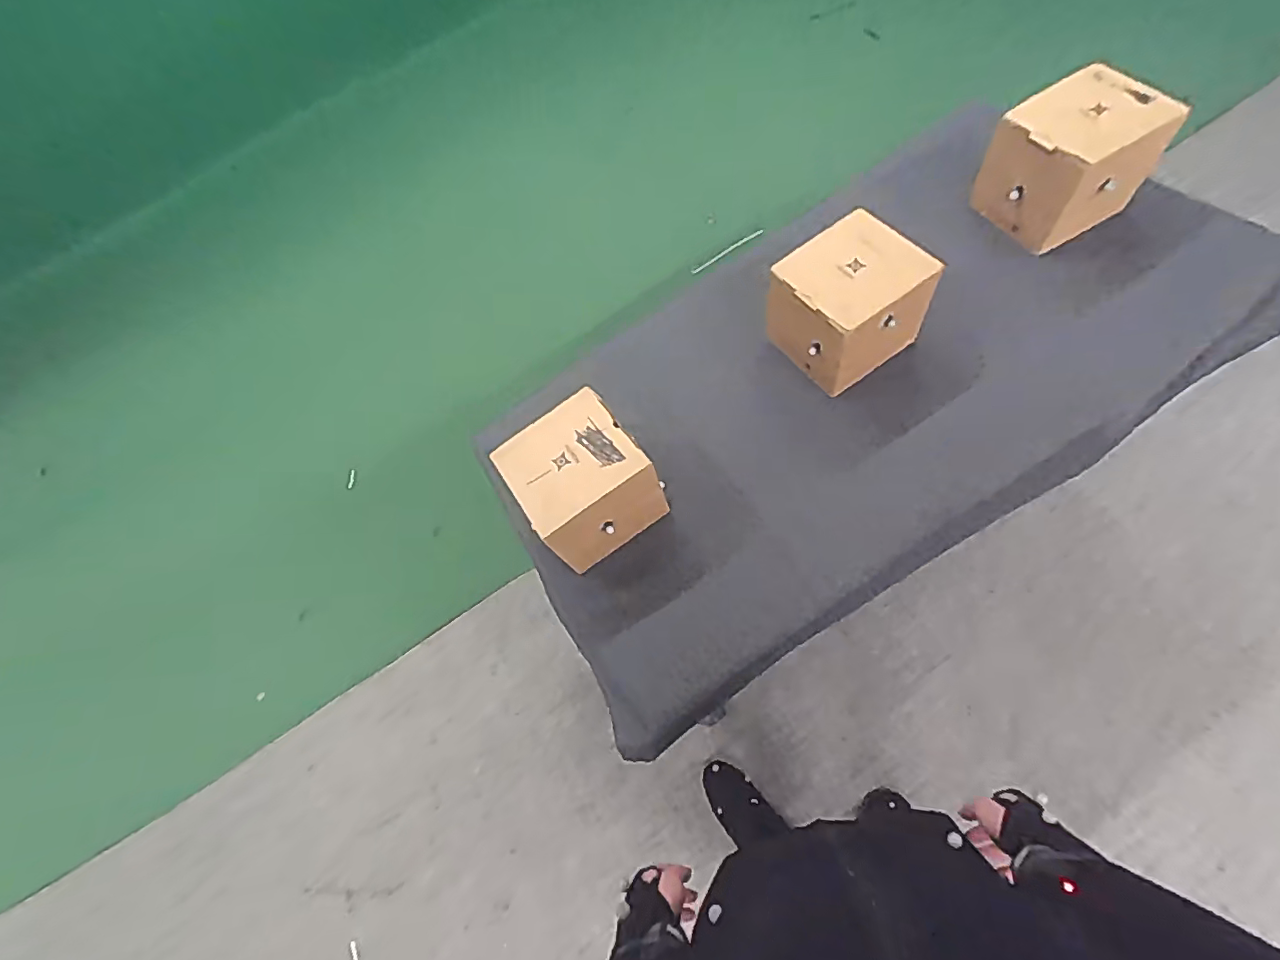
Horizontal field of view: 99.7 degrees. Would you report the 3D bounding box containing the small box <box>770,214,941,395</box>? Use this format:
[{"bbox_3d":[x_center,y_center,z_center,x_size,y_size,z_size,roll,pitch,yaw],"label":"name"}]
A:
[{"bbox_3d":[0.323,-0.266,0.850,0.179,0.176,0.168,-34,64,-6],"label":"small box"}]

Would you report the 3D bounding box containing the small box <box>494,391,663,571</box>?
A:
[{"bbox_3d":[-0.080,0.008,0.807,0.179,0.176,0.168,-35,63,-5],"label":"small box"}]

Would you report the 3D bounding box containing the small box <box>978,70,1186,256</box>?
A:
[{"bbox_3d":[0.689,-0.504,0.876,0.179,0.176,0.168,-29,63,-1],"label":"small box"}]
